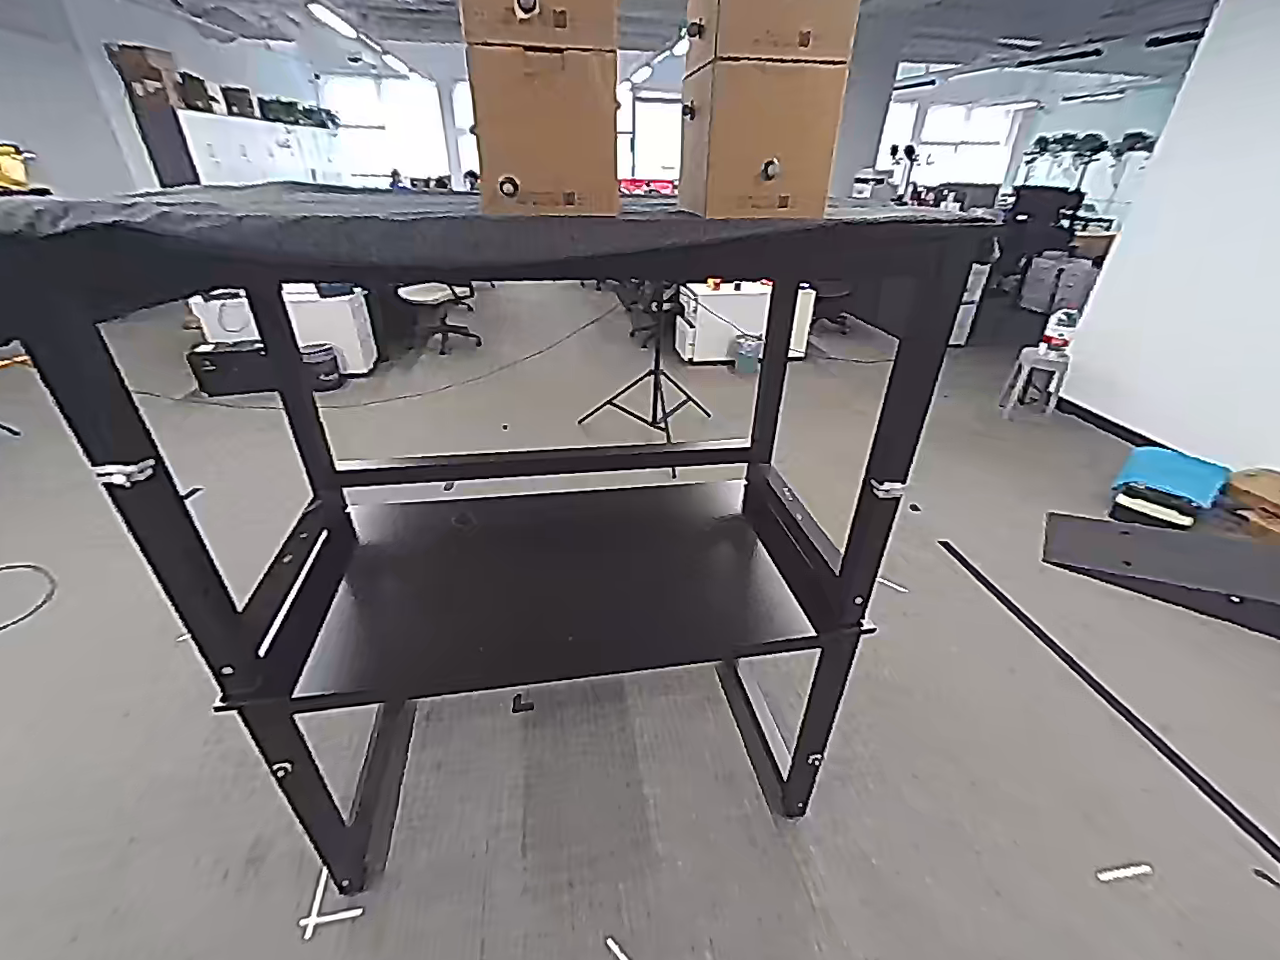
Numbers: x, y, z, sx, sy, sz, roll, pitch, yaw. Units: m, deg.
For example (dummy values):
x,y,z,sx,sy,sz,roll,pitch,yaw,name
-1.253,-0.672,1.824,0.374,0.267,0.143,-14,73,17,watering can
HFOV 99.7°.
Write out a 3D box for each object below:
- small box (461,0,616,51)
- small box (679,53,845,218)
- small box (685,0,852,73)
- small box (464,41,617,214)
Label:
x,y,z,sx,sy,sz,roll,pitch,yaw,name
-0.117,-0.581,0.618,0.168,0.176,0.179,-4,30,-8,small box
0.150,-0.459,0.738,0.168,0.176,0.179,-5,30,-7,small box
0.153,-0.601,0.657,0.168,0.176,0.179,-3,31,-7,small box
-0.121,-0.438,0.695,0.168,0.176,0.179,-4,29,-9,small box
